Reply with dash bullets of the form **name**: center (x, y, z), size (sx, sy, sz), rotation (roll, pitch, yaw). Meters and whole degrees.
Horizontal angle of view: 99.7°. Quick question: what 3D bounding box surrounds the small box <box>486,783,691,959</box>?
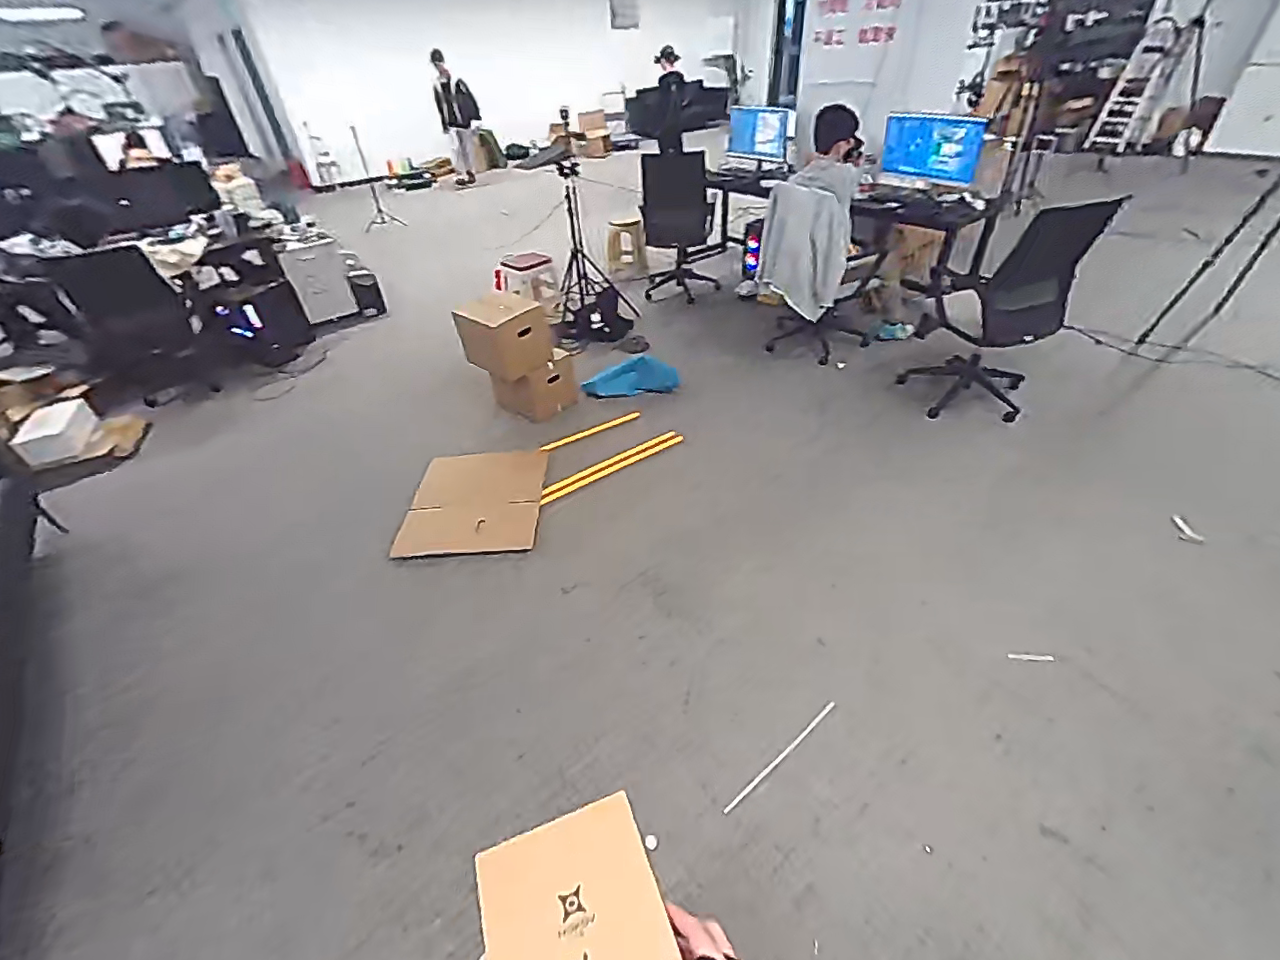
- **small box**: center (-0.050, 0.464, 0.559), size (0.168, 0.176, 0.179), rotation (-17, 38, -13)
